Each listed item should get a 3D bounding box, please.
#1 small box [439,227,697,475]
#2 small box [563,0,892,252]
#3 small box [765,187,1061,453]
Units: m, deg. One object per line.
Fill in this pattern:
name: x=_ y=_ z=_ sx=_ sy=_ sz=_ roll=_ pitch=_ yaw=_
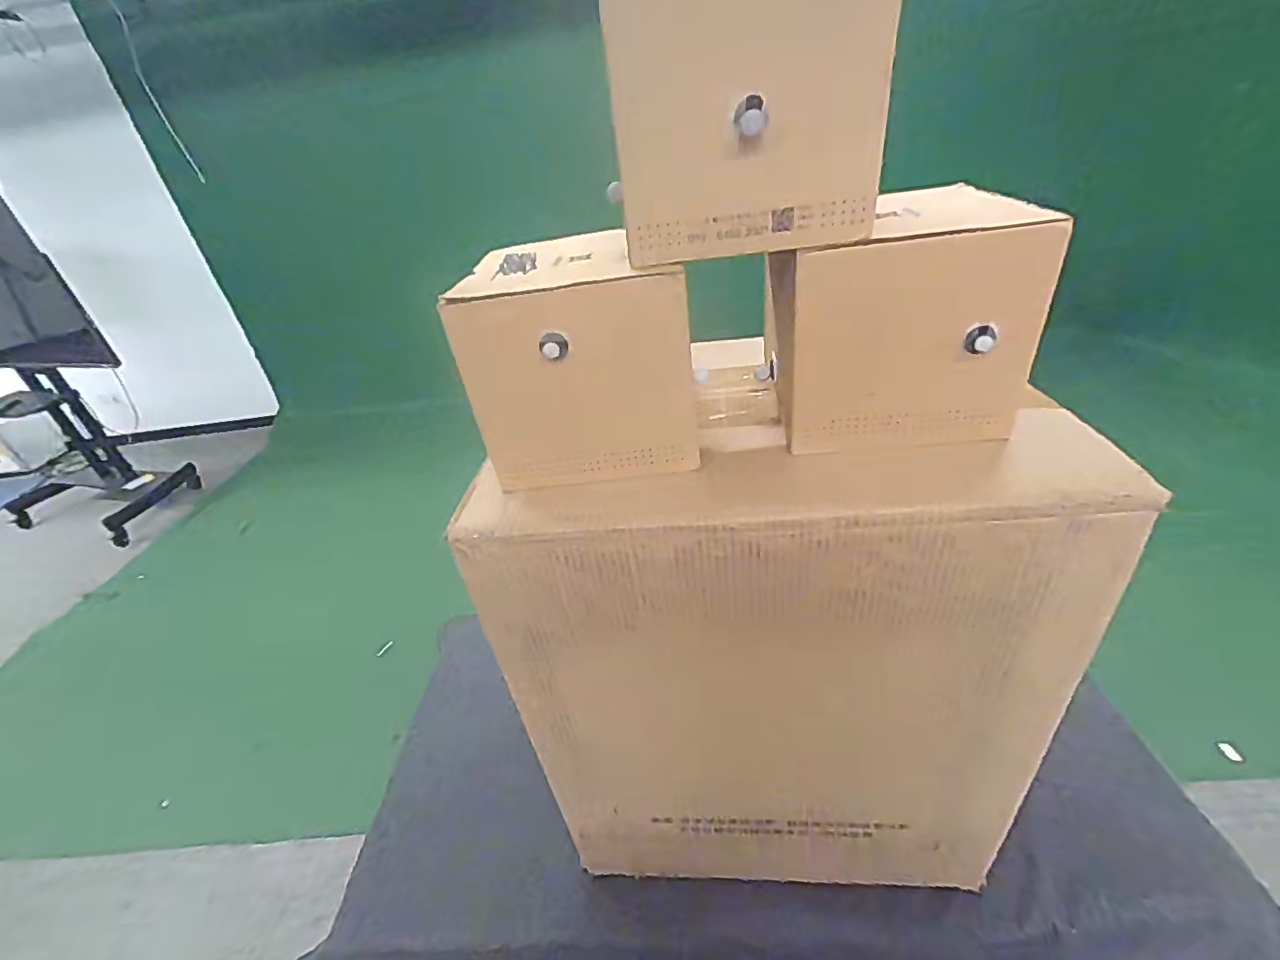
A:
small box: x=-0.045 y=-0.117 z=0.491 sx=0.179 sy=0.176 sz=0.168 roll=-4 pitch=37 yaw=9
small box: x=0.067 y=-0.281 z=0.403 sx=0.179 sy=0.176 sz=0.168 roll=-23 pitch=37 yaw=-19
small box: x=0.205 y=-0.138 z=0.471 sx=0.179 sy=0.176 sz=0.168 roll=-5 pitch=34 yaw=8
